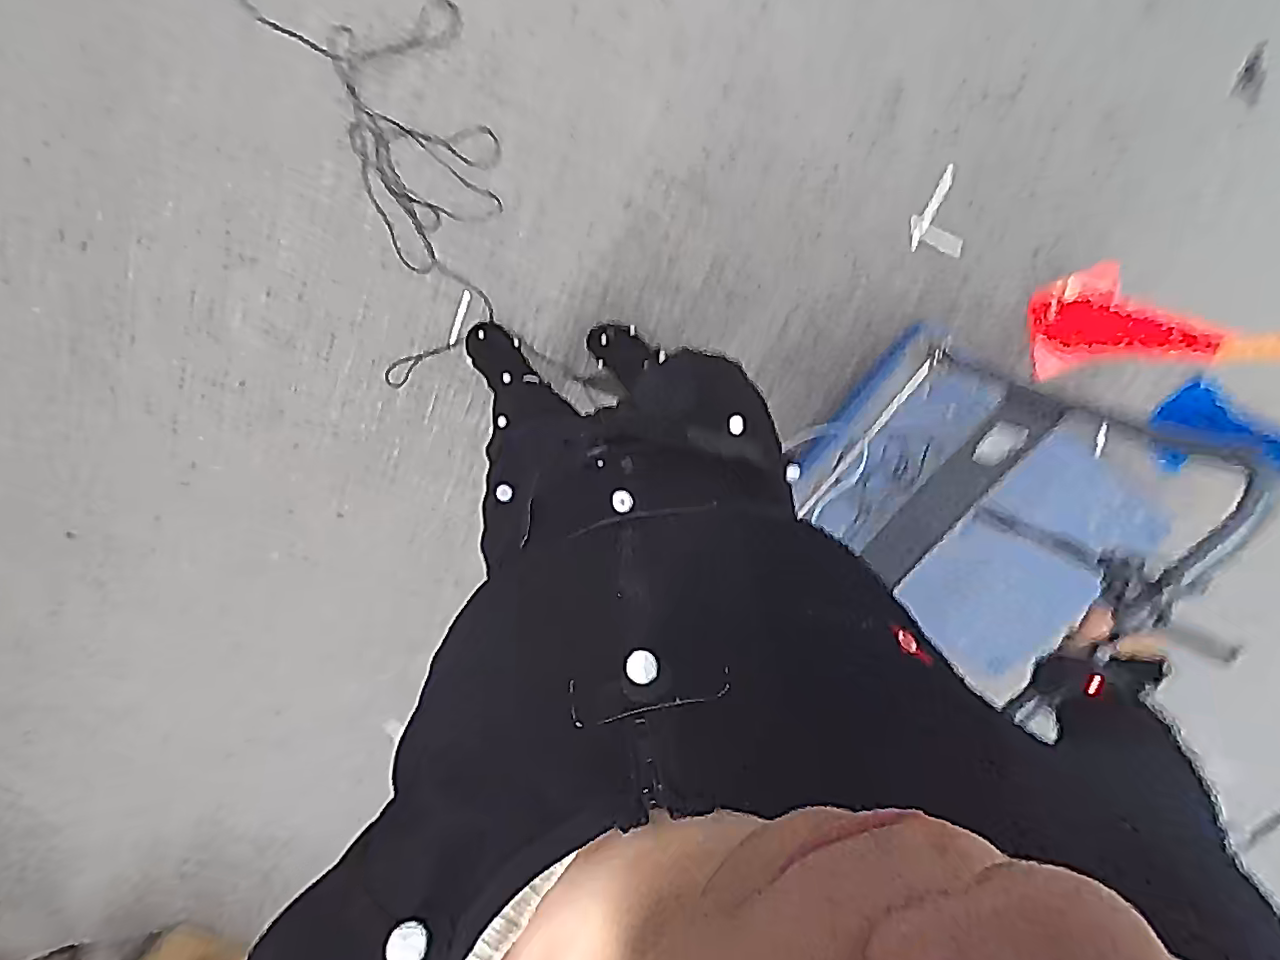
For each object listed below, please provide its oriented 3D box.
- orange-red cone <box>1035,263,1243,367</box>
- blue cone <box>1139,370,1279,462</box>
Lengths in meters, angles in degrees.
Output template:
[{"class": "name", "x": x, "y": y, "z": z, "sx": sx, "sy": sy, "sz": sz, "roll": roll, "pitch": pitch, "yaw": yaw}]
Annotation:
[{"class": "orange-red cone", "x": 1.030, "y": -0.312, "z": 1.104, "sx": 0.198, "sy": 0.360, "sz": 0.199, "roll": -20, "pitch": 114, "yaw": 7}, {"class": "blue cone", "x": 1.398, "y": -0.096, "z": 1.226, "sx": 0.192, "sy": 0.380, "sz": 0.193, "roll": 36, "pitch": 107, "yaw": -15}]
